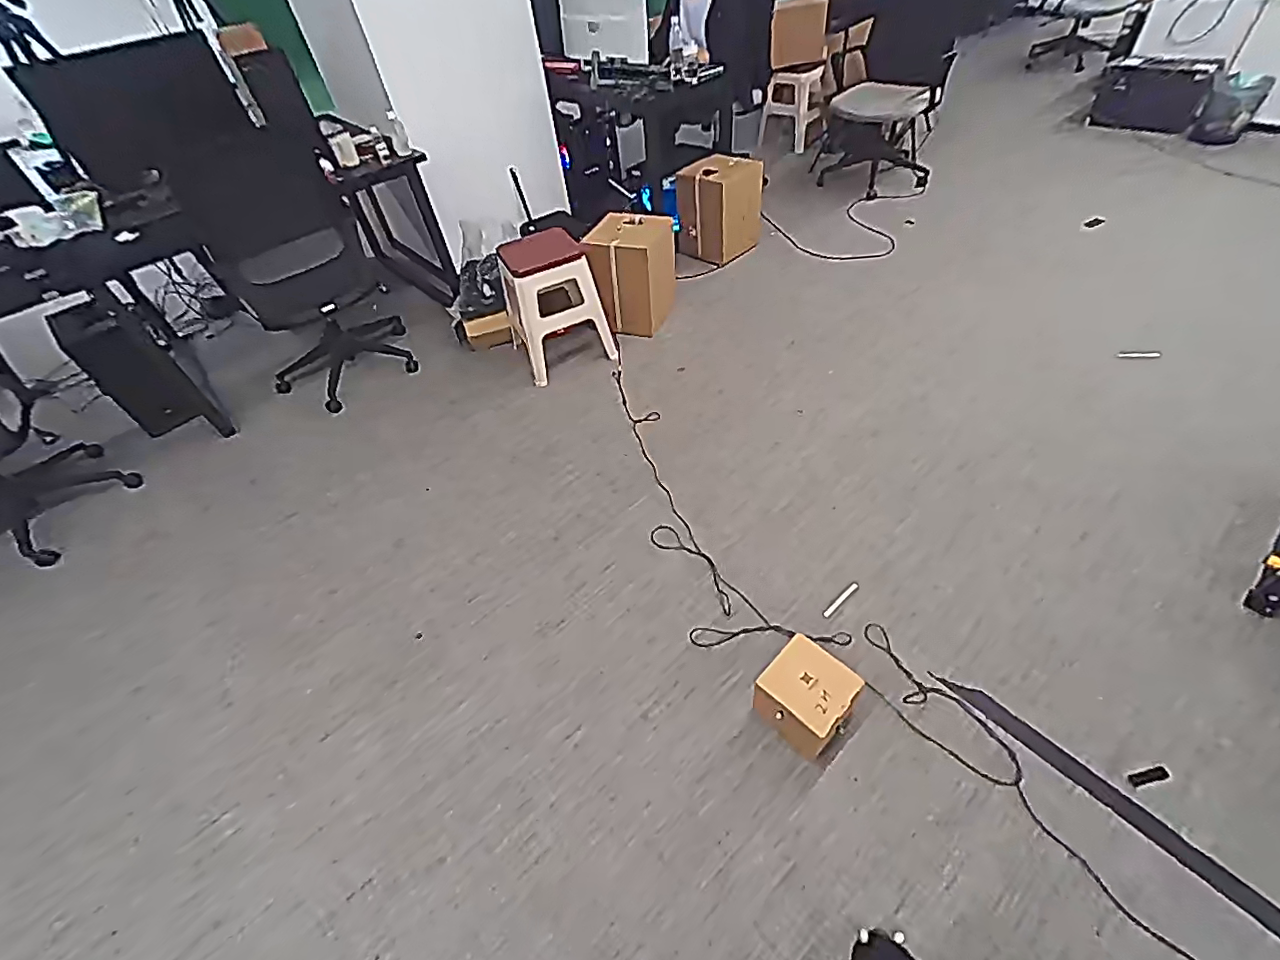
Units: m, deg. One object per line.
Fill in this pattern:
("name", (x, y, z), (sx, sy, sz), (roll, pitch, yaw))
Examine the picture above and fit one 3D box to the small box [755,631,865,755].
("small box", (0.377, 0.487, 1.232), (0.168, 0.176, 0.179), (-39, 54, -23))
